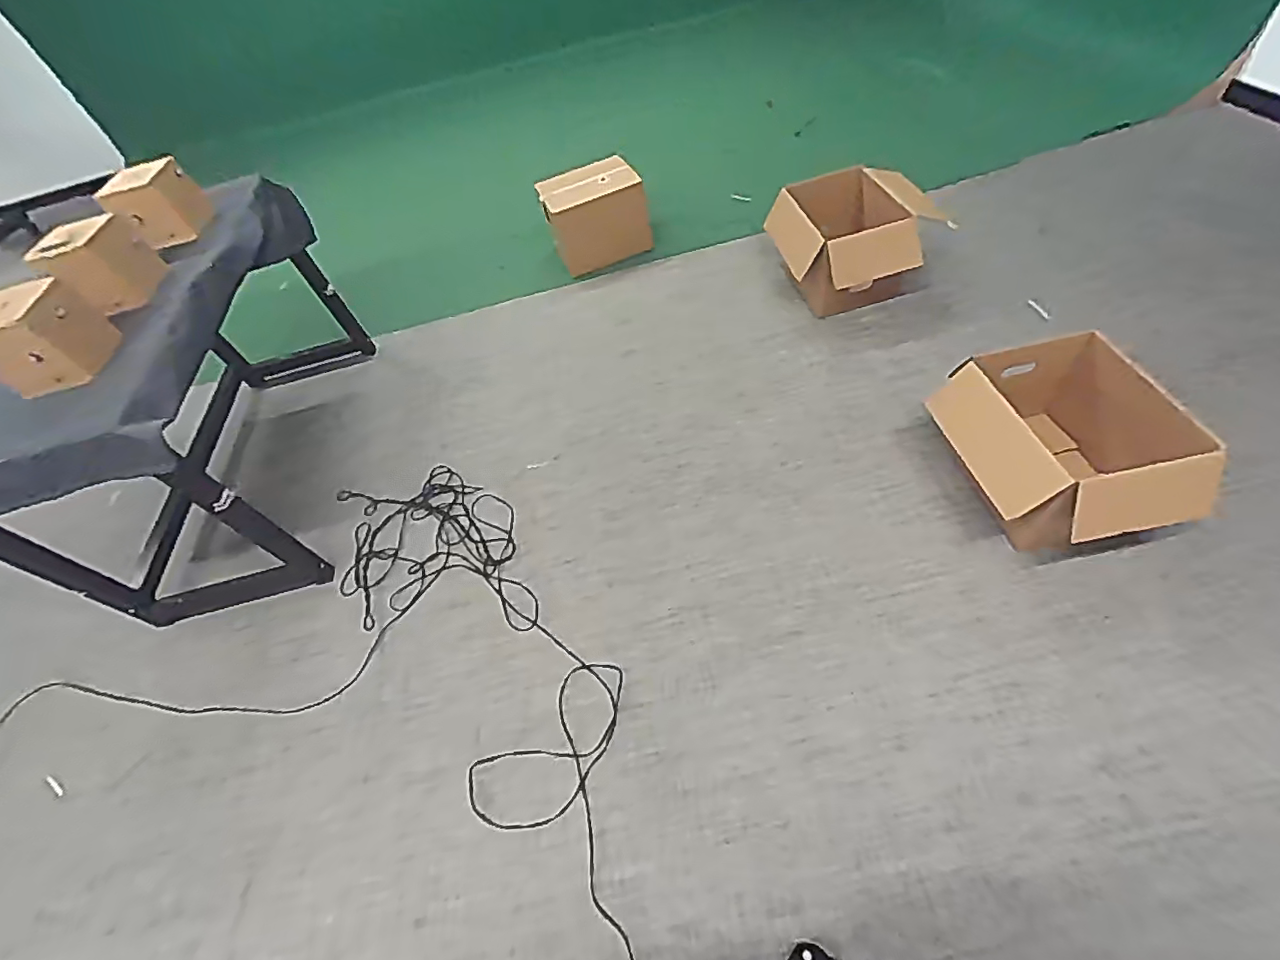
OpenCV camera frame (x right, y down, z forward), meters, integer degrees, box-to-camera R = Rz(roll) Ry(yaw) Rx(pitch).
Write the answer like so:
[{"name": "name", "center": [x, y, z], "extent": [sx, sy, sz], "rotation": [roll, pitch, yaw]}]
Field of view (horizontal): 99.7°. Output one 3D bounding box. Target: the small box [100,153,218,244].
[{"name": "small box", "center": [-1.389, -0.811, 1.577], "extent": [0.168, 0.176, 0.179], "rotation": [-13, 52, 4]}]

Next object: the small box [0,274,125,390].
[{"name": "small box", "center": [-1.320, -0.321, 1.205], "extent": [0.168, 0.176, 0.179], "rotation": [-15, 52, 0]}]
